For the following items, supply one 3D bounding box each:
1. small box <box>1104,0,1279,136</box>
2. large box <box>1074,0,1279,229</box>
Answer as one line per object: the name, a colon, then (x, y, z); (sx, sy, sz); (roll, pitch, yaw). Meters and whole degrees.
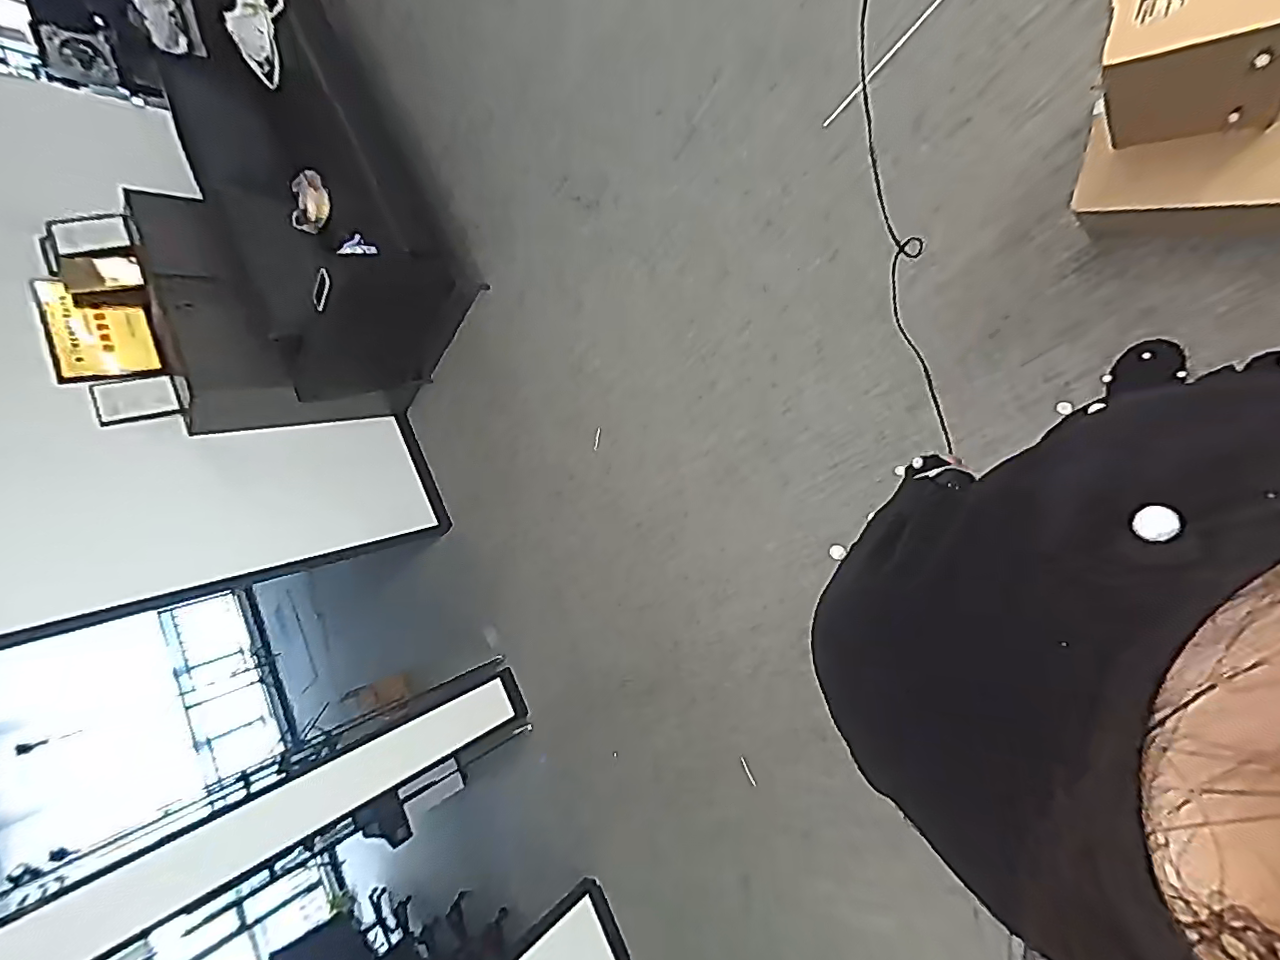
small box: (0.754, -0.586, 0.718); (0.179, 0.176, 0.168); (15, 110, 41)
large box: (0.980, -0.590, 0.847); (0.408, 0.320, 0.320); (19, 115, 38)
